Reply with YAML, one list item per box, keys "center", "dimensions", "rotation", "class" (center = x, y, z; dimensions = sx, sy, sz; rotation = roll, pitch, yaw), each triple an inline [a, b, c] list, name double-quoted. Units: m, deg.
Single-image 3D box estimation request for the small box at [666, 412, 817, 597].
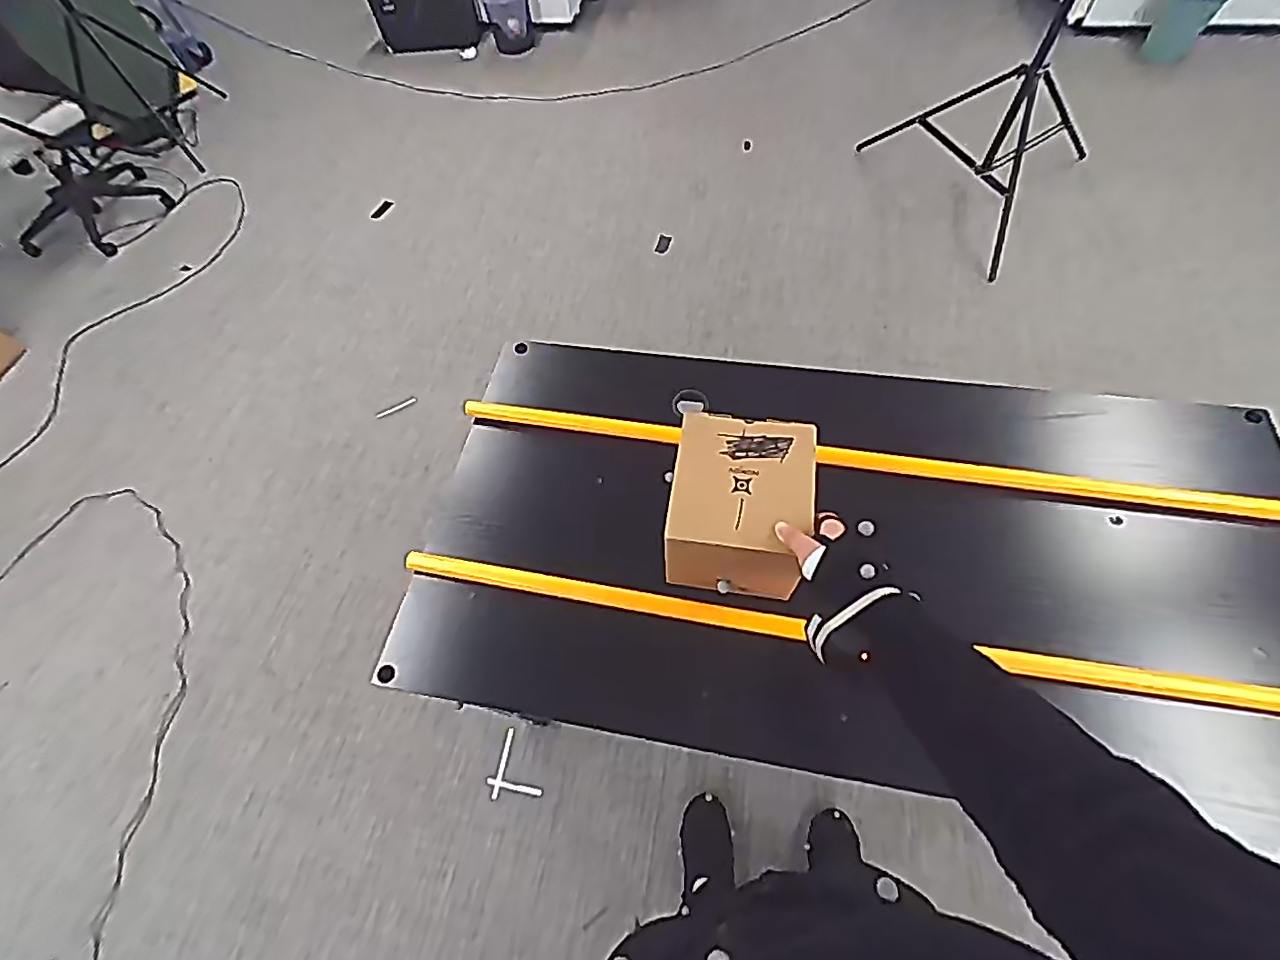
- center: [0.128, 0.036, 0.708]
  dimensions: [0.168, 0.176, 0.179]
  rotation: [7, 63, 9]
  class: "small box"
